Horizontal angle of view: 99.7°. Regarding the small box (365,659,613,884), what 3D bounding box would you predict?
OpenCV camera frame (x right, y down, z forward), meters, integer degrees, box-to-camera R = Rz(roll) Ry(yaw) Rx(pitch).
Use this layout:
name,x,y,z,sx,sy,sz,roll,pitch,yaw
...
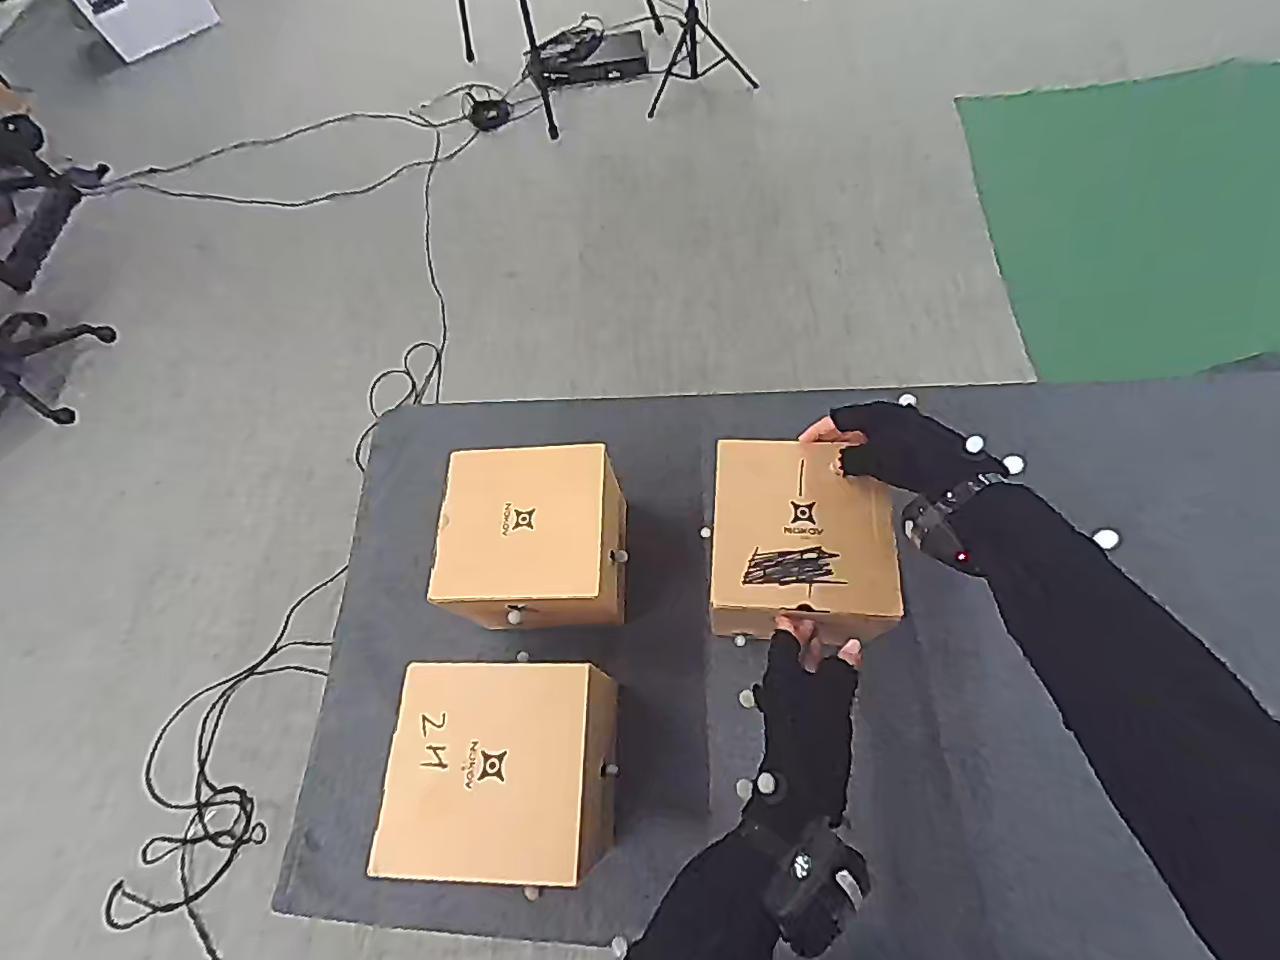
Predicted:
name,x,y,z,sx,sy,sz,roll,pitch,yaw
small box,-0.125,0.271,0.528,0.179,0.176,0.168,-2,64,7

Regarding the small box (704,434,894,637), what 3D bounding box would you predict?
name,x,y,z,sx,sy,sz,roll,pitch,yaw
small box,0.159,0.066,0.581,0.168,0.176,0.179,2,66,9
